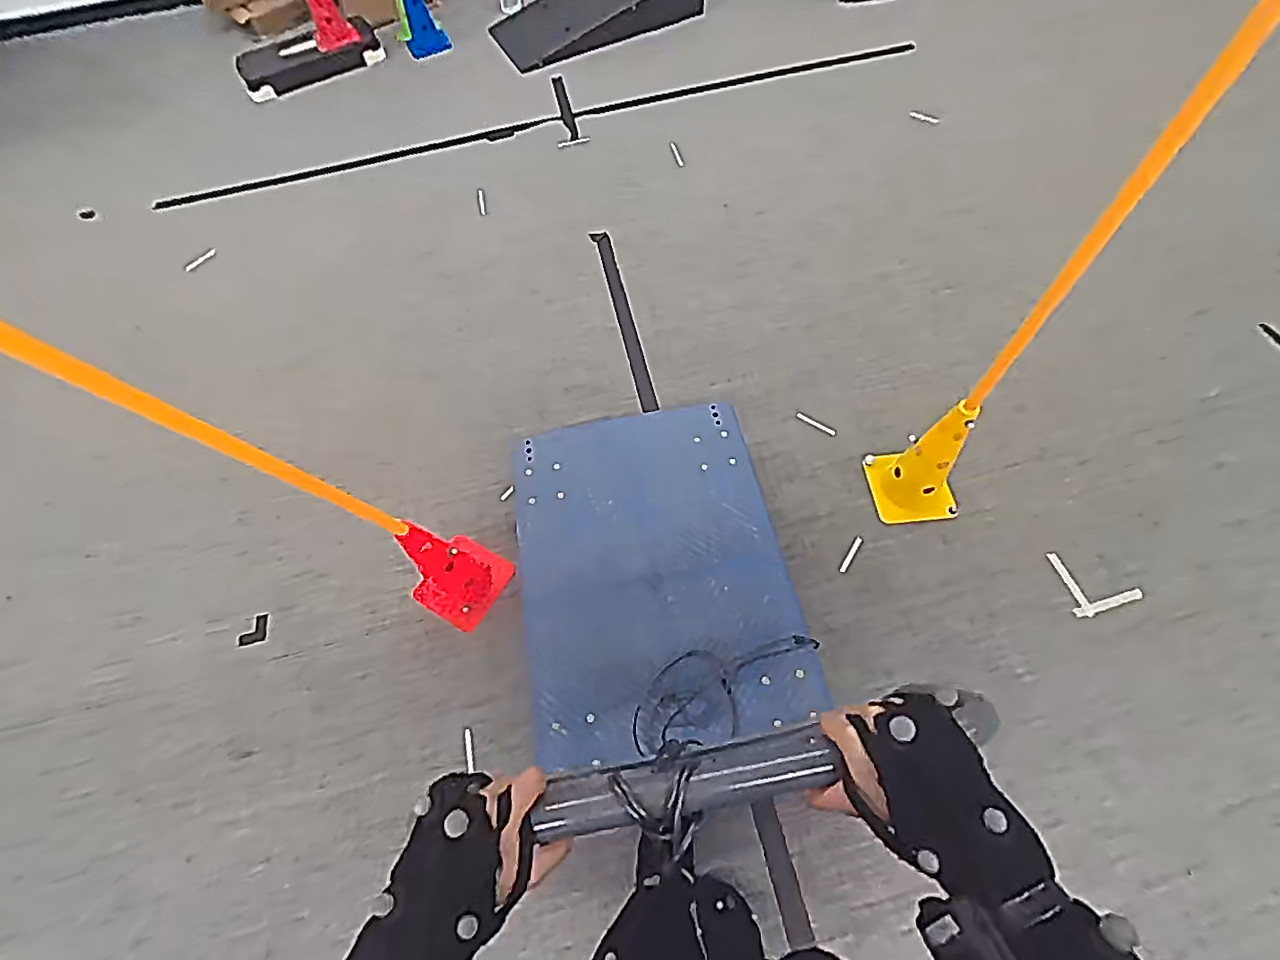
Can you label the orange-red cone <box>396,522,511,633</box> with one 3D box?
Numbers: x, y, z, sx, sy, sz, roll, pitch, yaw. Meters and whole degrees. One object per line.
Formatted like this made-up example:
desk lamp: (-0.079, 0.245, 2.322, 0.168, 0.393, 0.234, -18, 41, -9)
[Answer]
orange-red cone: (-0.460, 0.182, 1.226, 0.198, 0.360, 0.199, 28, 66, 16)
